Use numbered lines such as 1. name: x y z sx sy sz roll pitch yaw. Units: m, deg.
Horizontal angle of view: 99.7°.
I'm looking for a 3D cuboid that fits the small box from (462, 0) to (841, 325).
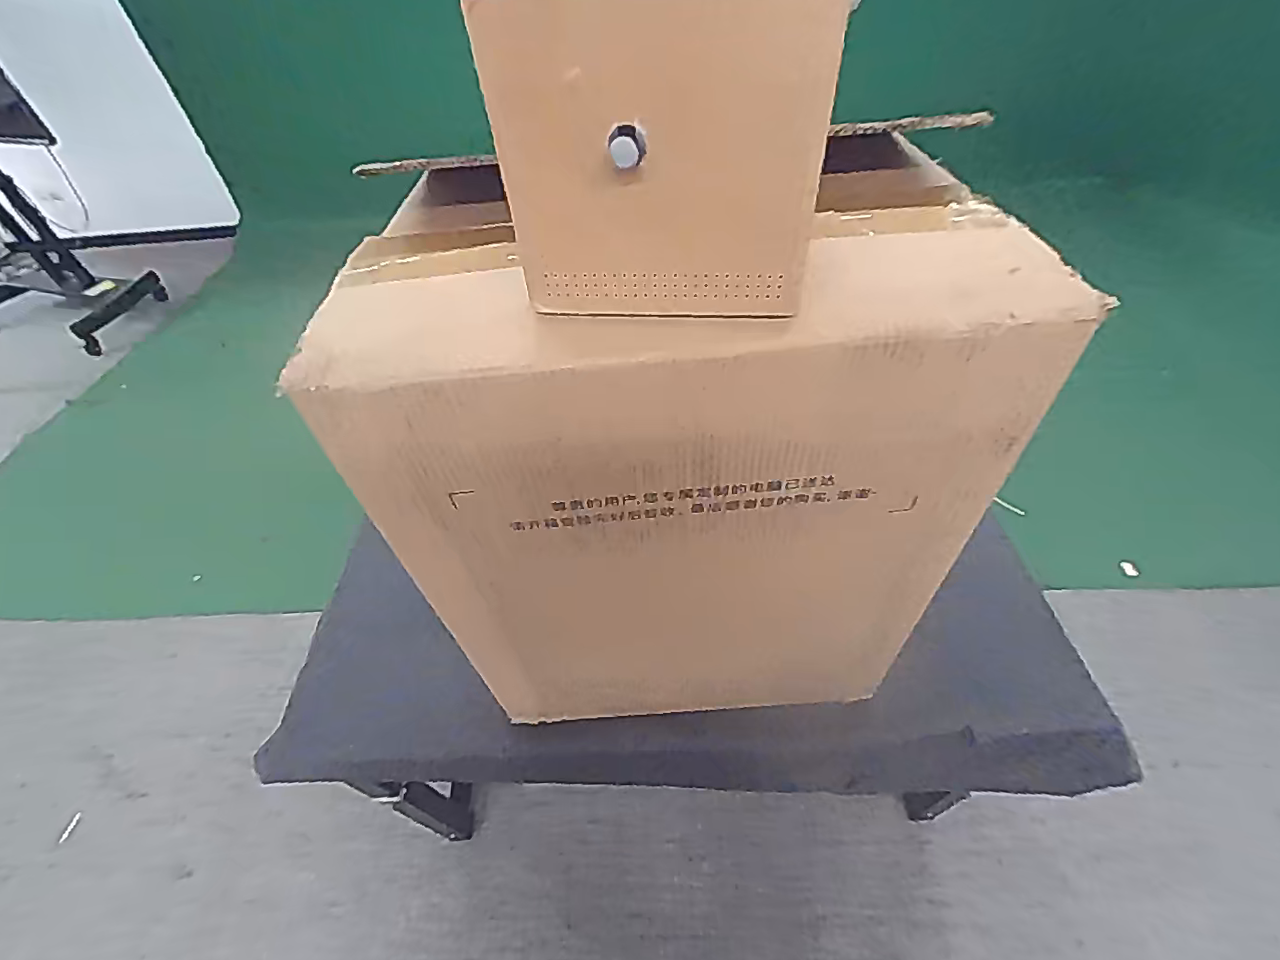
1. small box: 0.018 -0.214 0.348 0.179 0.176 0.168 2 49 8
